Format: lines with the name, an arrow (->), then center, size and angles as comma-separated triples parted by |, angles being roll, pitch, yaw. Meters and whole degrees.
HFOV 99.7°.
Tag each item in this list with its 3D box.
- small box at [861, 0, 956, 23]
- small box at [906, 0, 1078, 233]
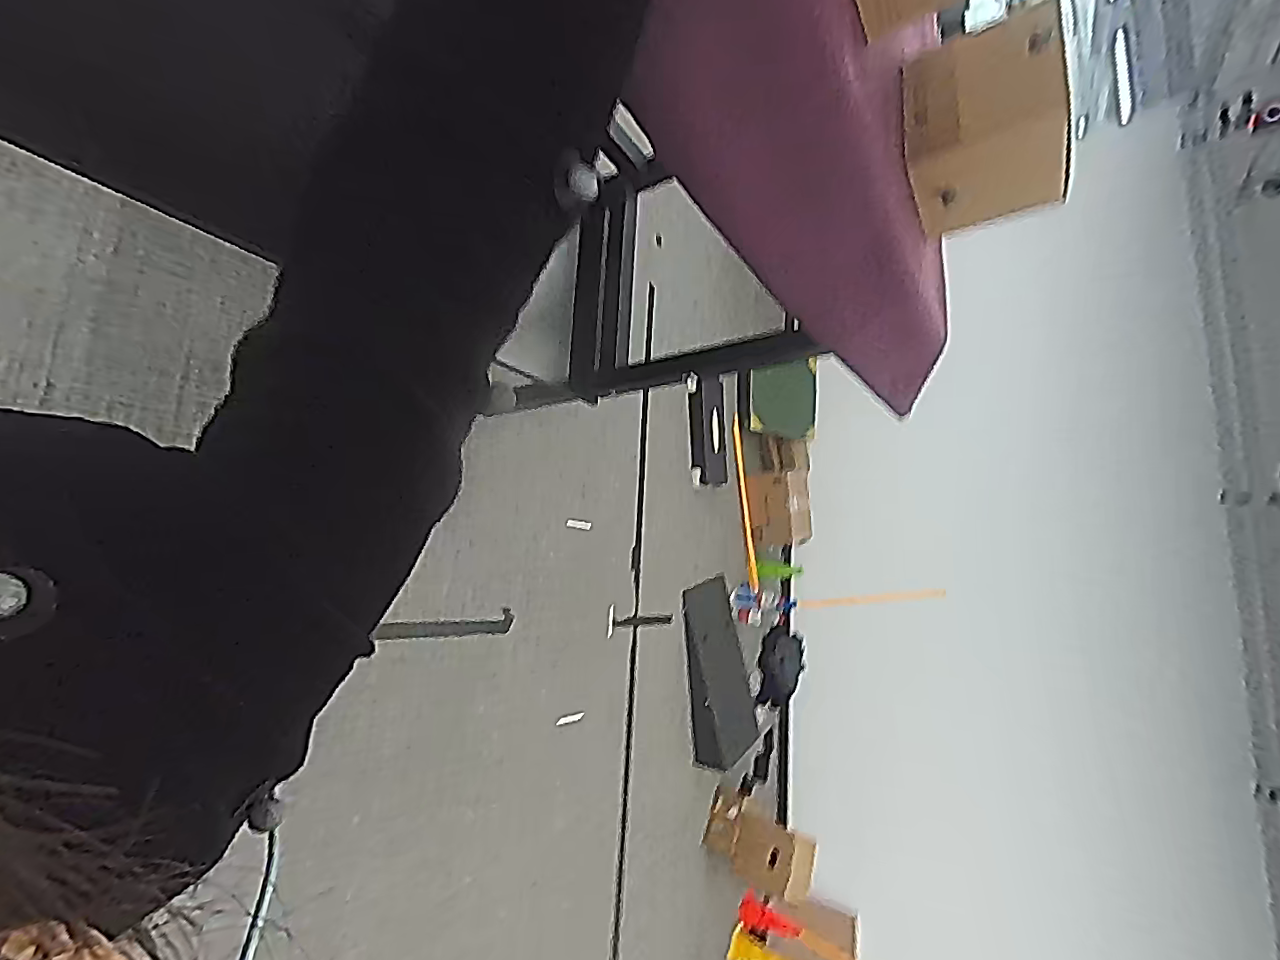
small box -> 0.250, -0.524, 0.431 | 0.179, 0.176, 0.168 | 18, 72, -52
small box -> 0.457, -0.455, 0.712 | 0.179, 0.176, 0.168 | 21, 69, -52
